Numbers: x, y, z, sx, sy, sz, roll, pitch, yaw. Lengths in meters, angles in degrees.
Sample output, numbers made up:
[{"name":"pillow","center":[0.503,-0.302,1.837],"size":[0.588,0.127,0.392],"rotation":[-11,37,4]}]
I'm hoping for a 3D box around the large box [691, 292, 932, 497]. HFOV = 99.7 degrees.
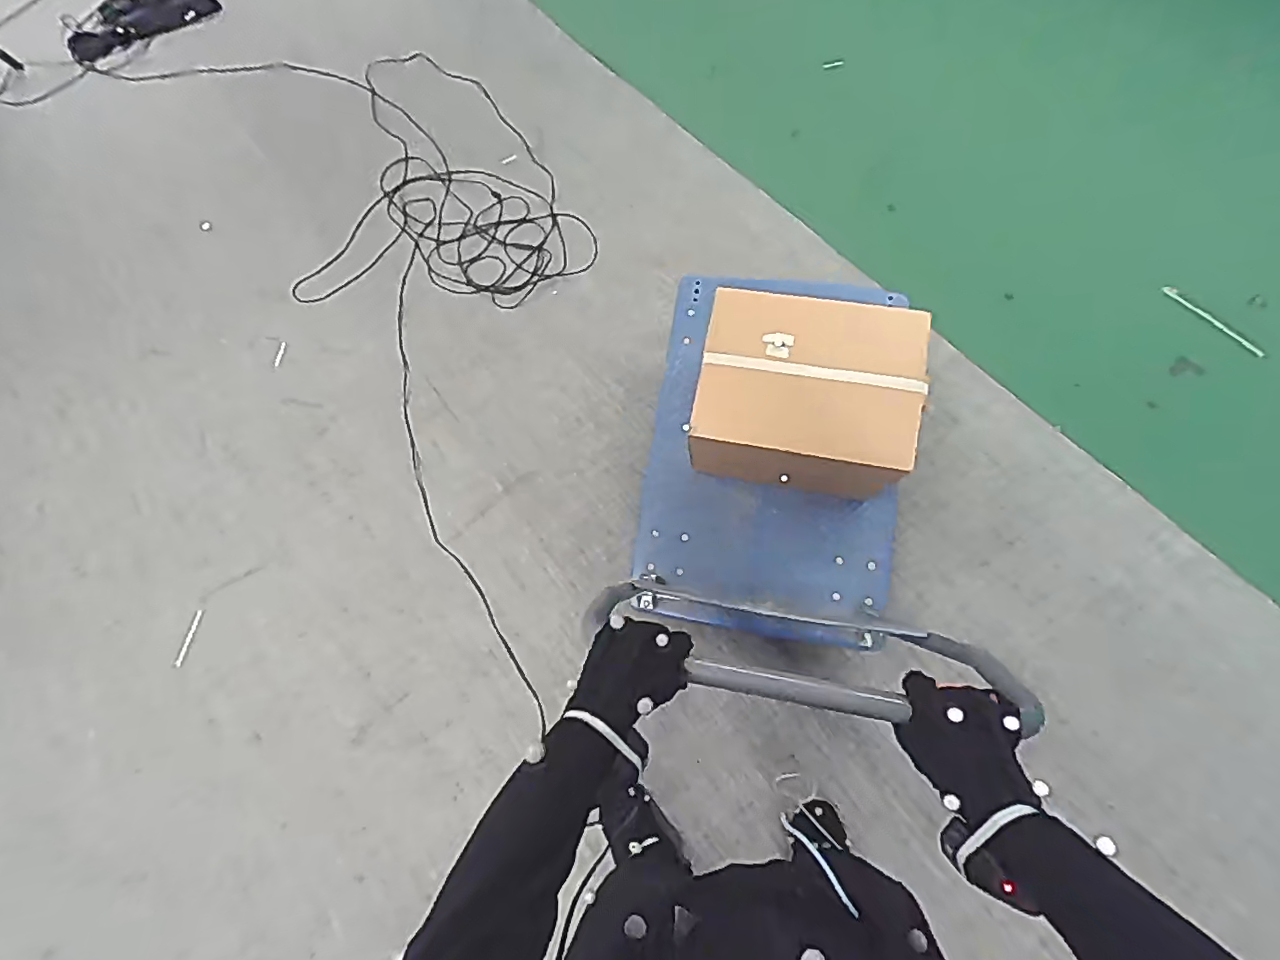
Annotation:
[{"name":"large box","center":[0.342,-0.164,1.152],"size":[0.408,0.320,0.320],"rotation":[11,80,11]}]
